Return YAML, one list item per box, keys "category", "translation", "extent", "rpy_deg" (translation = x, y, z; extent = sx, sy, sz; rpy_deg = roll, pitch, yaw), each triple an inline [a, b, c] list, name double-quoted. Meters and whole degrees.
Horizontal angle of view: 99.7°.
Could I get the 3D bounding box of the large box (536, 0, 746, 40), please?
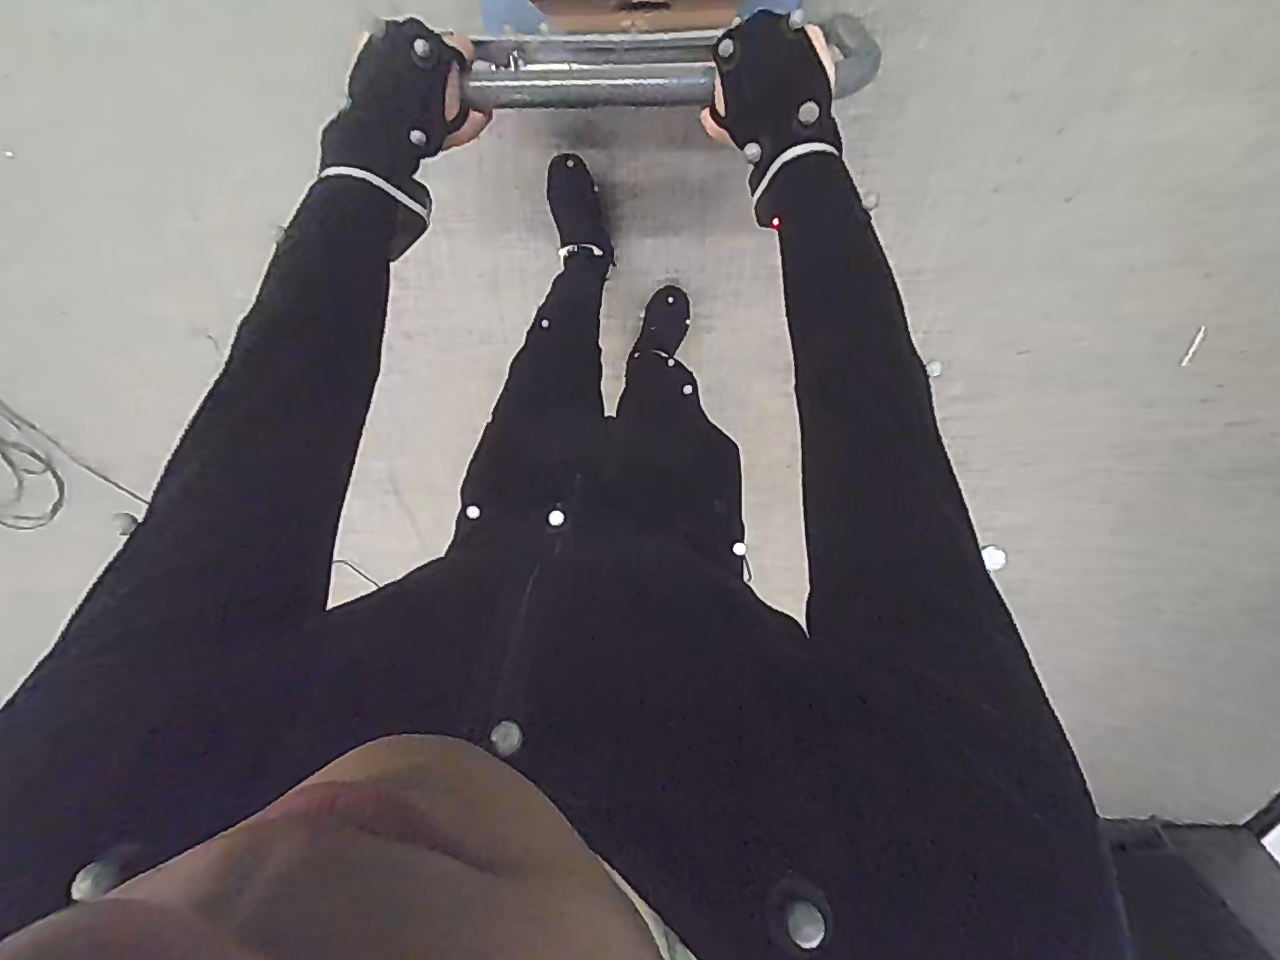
- category: "large box"
  translation: [0.005, -0.909, 0.767]
  extent: [0.320, 0.320, 0.408]
  rpy_deg: [1, 122, 3]
